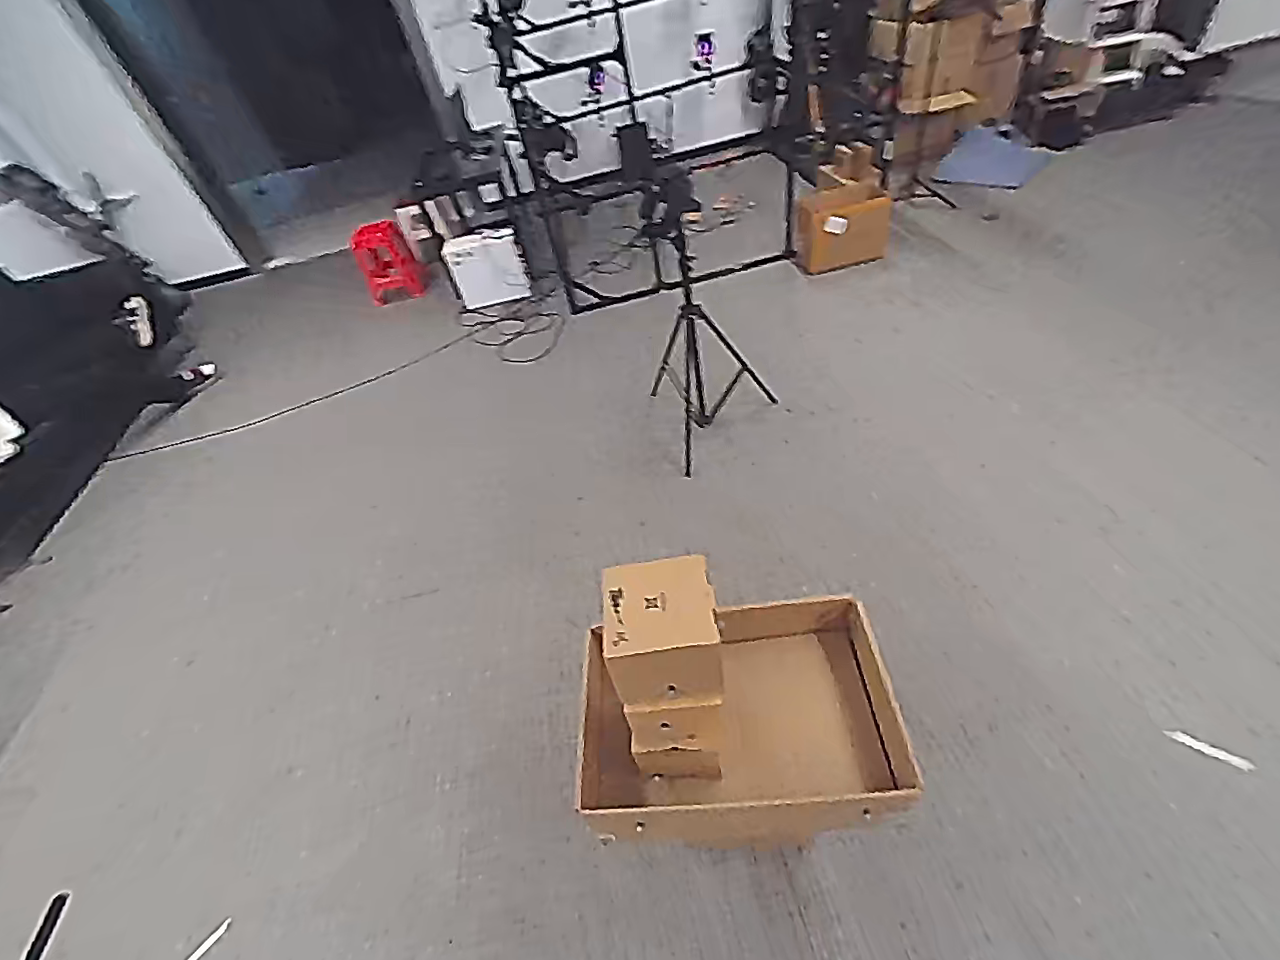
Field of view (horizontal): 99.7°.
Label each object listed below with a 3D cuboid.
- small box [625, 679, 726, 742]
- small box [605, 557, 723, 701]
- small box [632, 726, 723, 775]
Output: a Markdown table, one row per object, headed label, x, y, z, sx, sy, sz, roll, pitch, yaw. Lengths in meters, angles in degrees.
| label | x | y | z | sx | sy | sz | roll | pitch | yaw |
| --- | --- | --- | --- | --- | --- | --- | --- | --- | --- |
| small box | 0.067 | 0.373 | 1.011 | 0.168 | 0.176 | 0.179 | -7 | 44 | 5 |
| small box | 0.042 | 0.251 | 0.904 | 0.179 | 0.176 | 0.168 | -7 | 43 | 4 |
| small box | 0.082 | 0.495 | 1.117 | 0.168 | 0.176 | 0.179 | -5 | 44 | 8 |
